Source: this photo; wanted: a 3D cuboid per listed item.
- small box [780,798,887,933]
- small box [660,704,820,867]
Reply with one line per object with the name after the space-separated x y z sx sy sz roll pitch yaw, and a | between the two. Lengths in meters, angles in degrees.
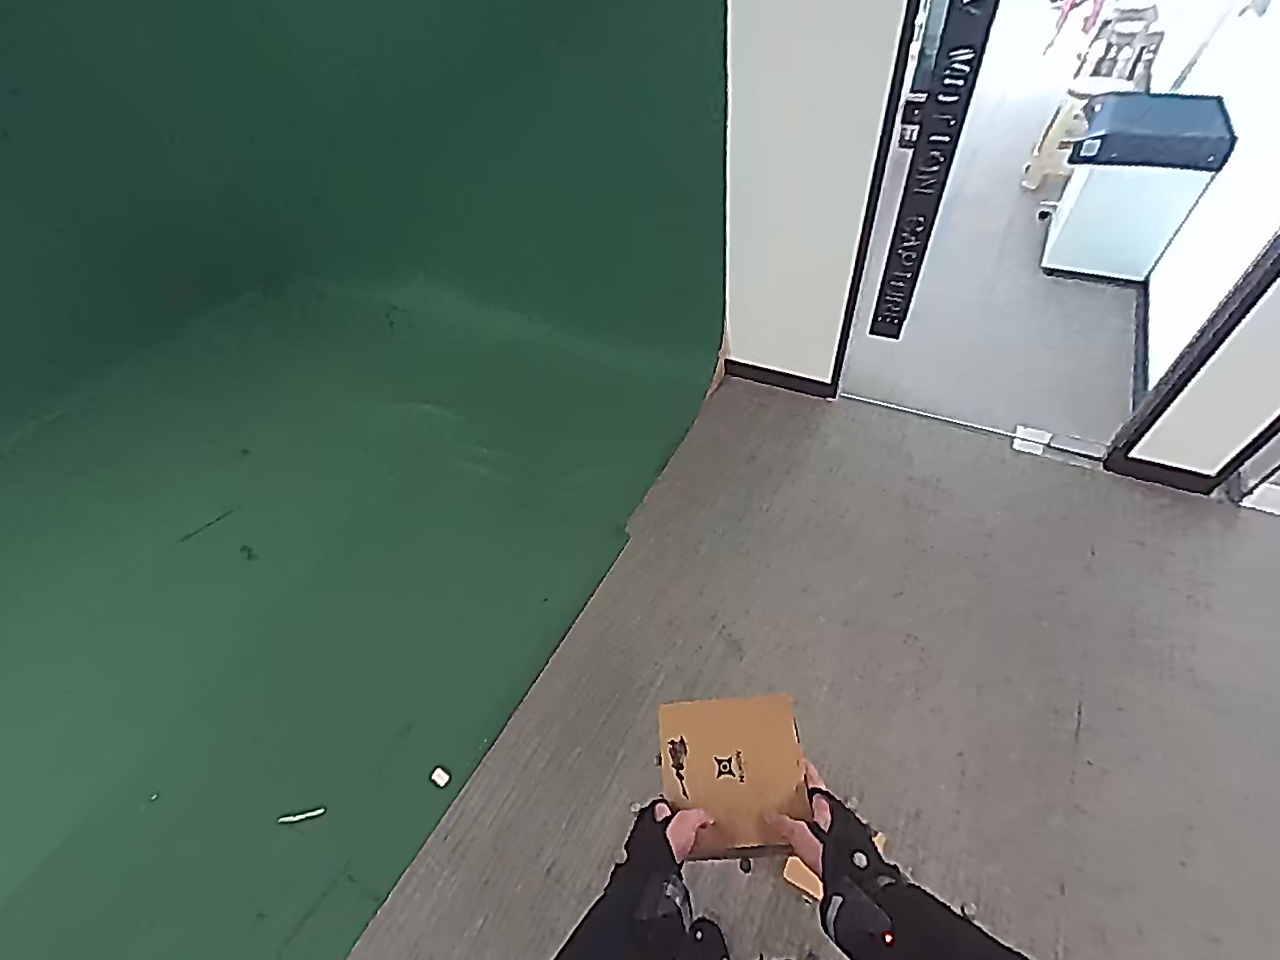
0.413 0.839 1.177 0.168 0.176 0.179 22 56 27 | small box
0.124 0.410 0.721 0.179 0.176 0.168 -7 51 5 | small box
